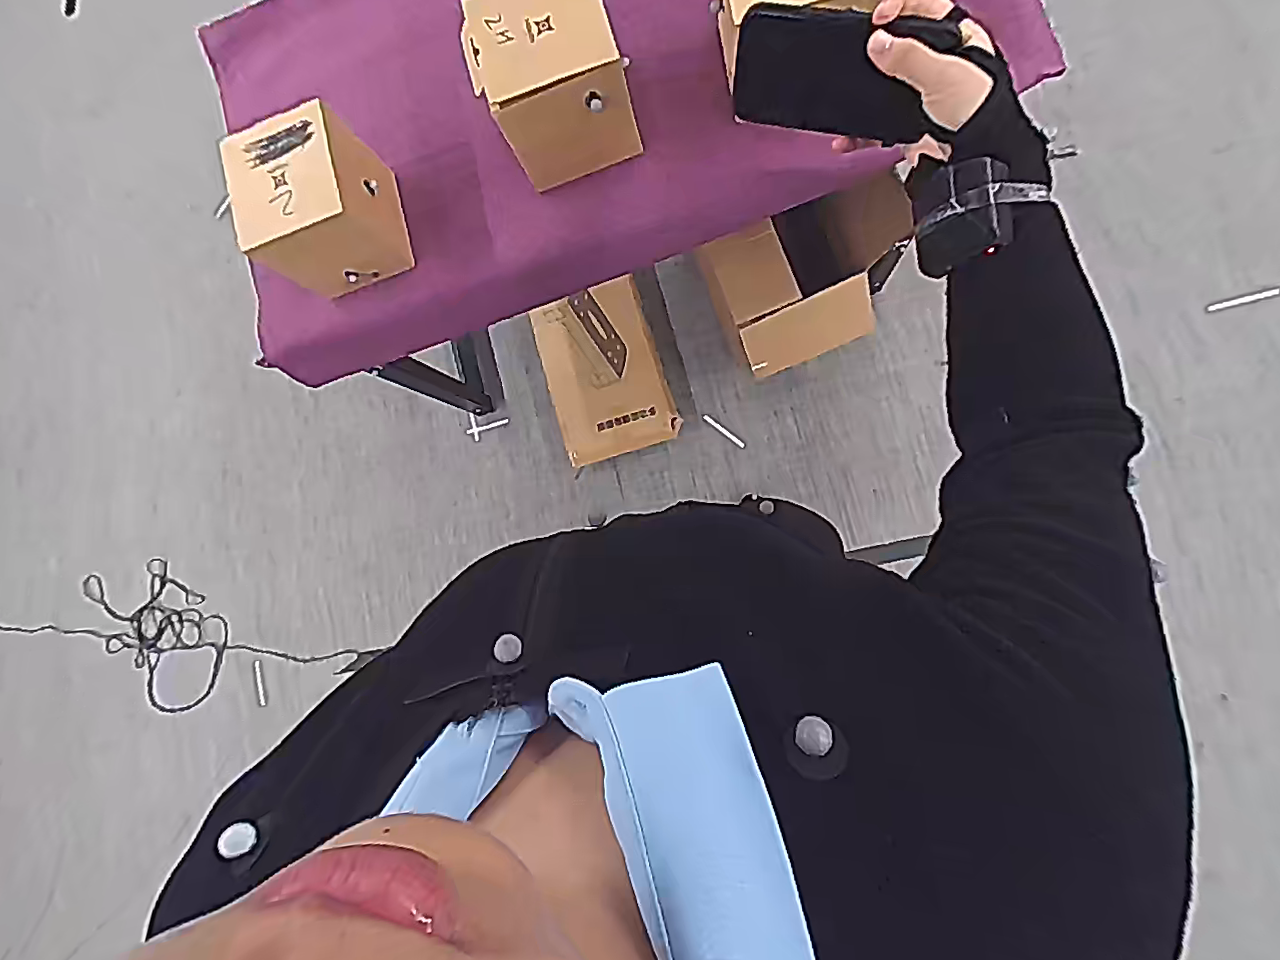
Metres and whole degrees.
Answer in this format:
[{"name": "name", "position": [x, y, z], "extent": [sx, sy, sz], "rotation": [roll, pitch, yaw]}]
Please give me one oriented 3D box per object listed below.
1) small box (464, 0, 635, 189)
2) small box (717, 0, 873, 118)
[{"name": "small box", "position": [-0.113, -0.552, 0.755], "extent": [0.179, 0.176, 0.168], "rotation": [-17, 81, 8]}, {"name": "small box", "position": [0.195, -0.620, 0.707], "extent": [0.179, 0.176, 0.168], "rotation": [-10, 84, 9]}]
